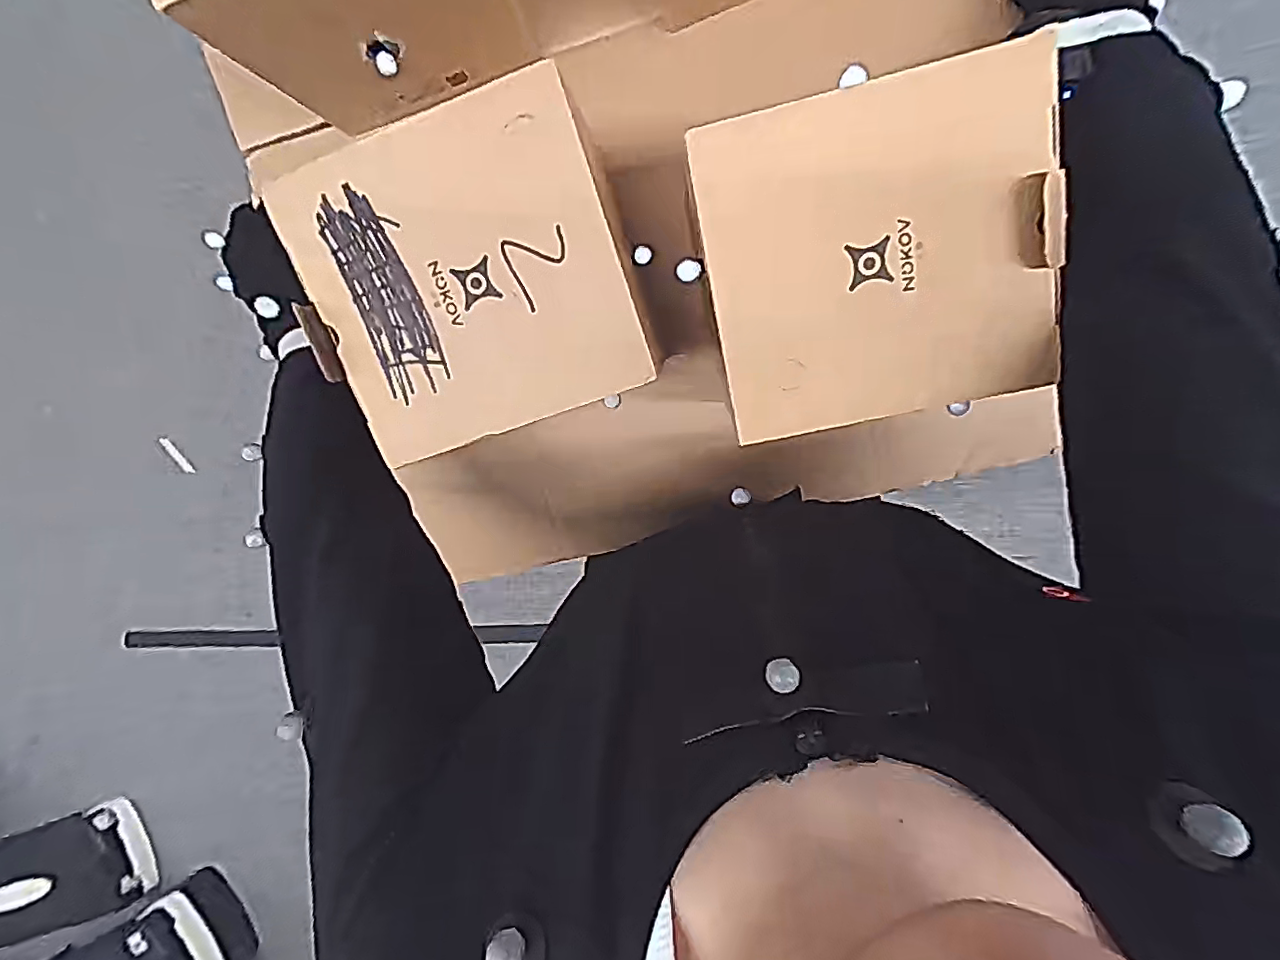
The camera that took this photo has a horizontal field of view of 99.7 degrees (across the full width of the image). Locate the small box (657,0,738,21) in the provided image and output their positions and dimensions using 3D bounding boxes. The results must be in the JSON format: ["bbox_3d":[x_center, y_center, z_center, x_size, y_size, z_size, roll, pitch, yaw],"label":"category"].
[{"bbox_3d":[0.072,-0.405,0.287,0.179,0.176,0.168,-14,103,10],"label":"small box"}]

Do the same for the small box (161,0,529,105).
[{"bbox_3d":[-0.182,-0.360,0.321,0.168,0.176,0.179,-14,102,7],"label":"small box"}]
